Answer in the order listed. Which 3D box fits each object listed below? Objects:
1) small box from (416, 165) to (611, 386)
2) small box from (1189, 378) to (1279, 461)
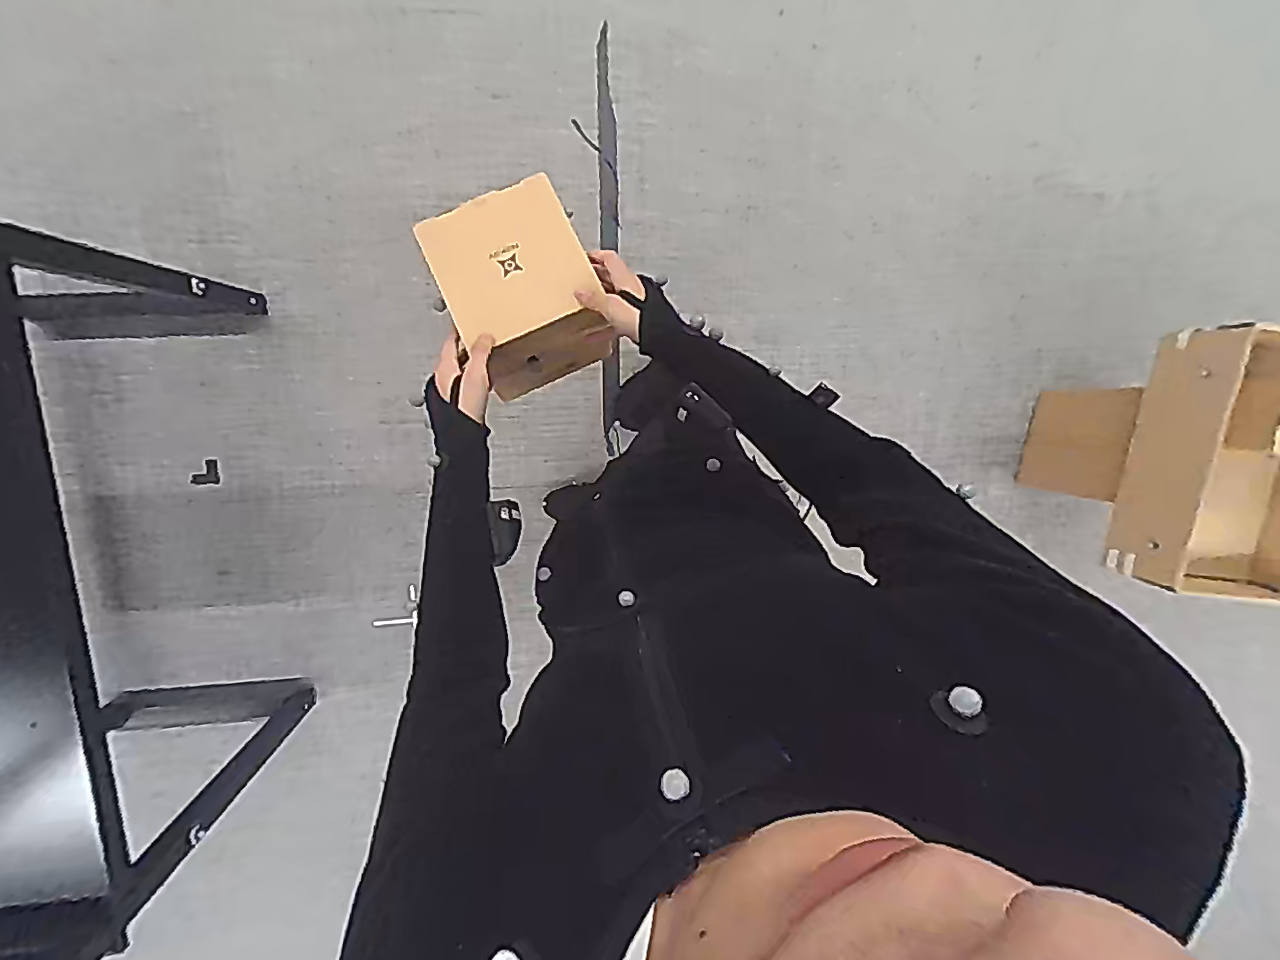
[{"bbox_3d":[-0.142,-0.235,0.673,0.168,0.176,0.179,-24,81,-5],"label":"small box"},{"bbox_3d":[1.445,-0.136,1.250,0.179,0.176,0.168,9,99,-9],"label":"small box"}]
